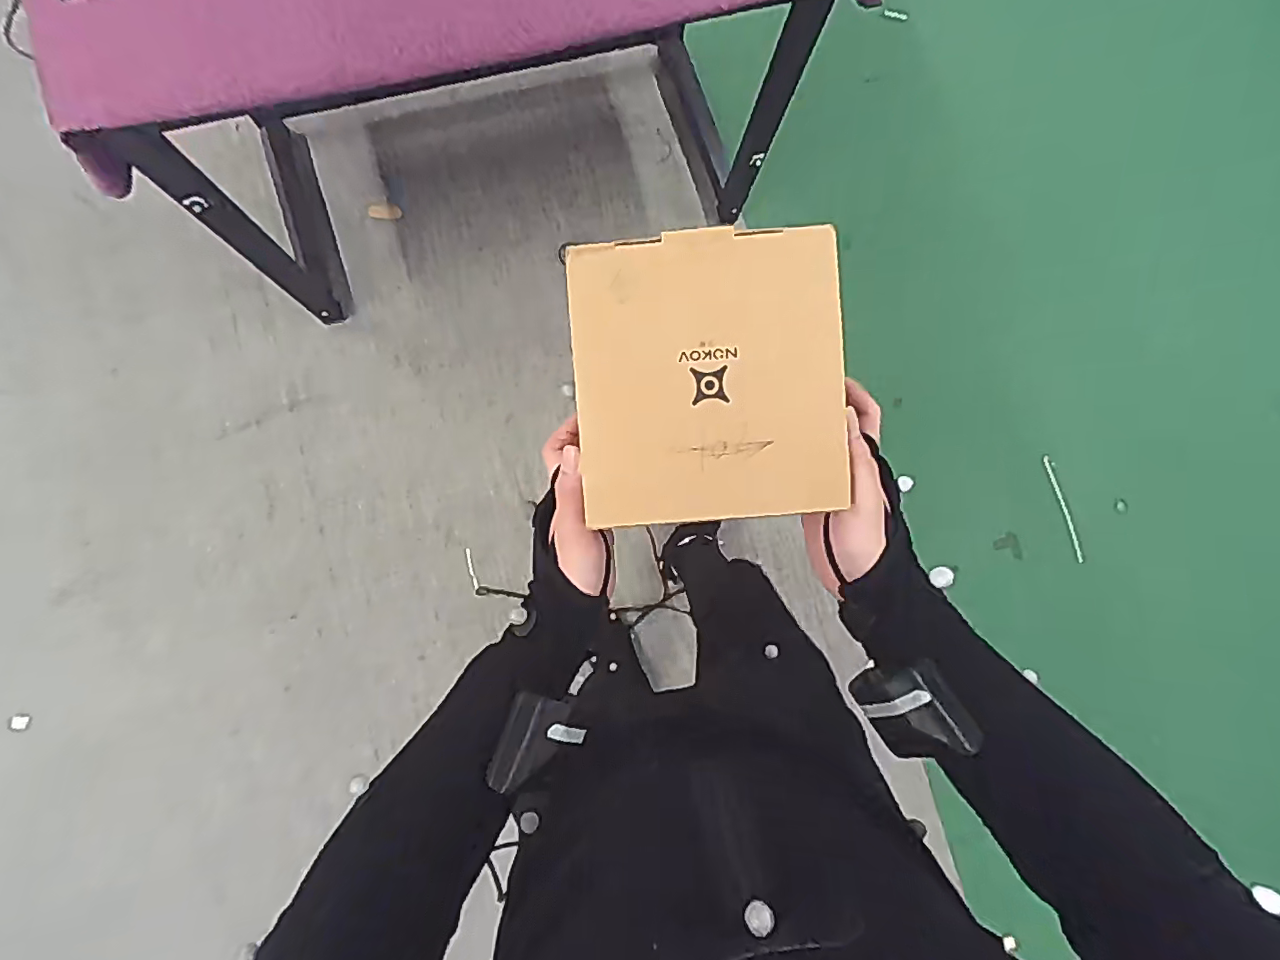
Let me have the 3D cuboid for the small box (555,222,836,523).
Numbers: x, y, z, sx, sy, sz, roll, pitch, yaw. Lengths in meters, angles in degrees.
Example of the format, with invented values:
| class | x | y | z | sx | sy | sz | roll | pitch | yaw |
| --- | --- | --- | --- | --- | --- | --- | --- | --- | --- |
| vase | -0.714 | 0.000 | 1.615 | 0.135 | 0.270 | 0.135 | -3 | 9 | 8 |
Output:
| class | x | y | z | sx | sy | sz | roll | pitch | yaw |
| --- | --- | --- | --- | --- | --- | --- | --- | --- | --- |
| small box | 0.035 | -0.067 | 0.410 | 0.168 | 0.176 | 0.179 | -4 | 93 | 2 |
